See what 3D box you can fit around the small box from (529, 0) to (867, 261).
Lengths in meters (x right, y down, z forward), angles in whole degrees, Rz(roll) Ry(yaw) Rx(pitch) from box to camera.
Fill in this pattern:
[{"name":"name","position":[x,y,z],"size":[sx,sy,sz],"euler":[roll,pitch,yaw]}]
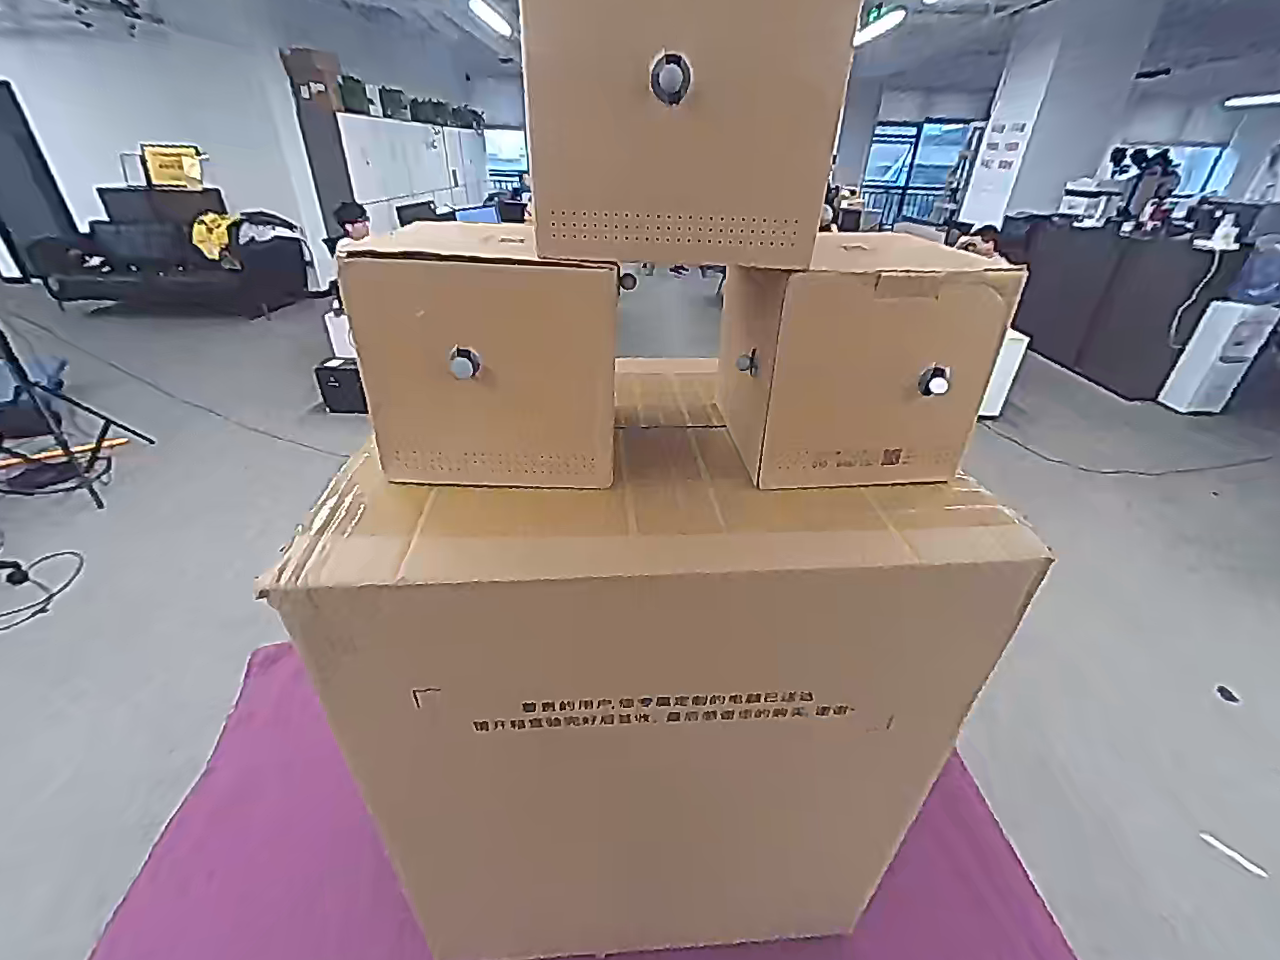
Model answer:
[{"name":"small box","position":[0.030,-0.248,0.363],"size":[0.179,0.176,0.168],"euler":[2,31,1]}]

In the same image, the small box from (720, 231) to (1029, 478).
[{"name":"small box","position":[0.169,-0.110,0.460],"size":[0.168,0.176,0.179],"euler":[-1,30,-5]}]

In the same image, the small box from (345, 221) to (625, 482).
[{"name":"small box","position":[-0.102,-0.109,0.443],"size":[0.179,0.176,0.168],"euler":[2,31,-3]}]
